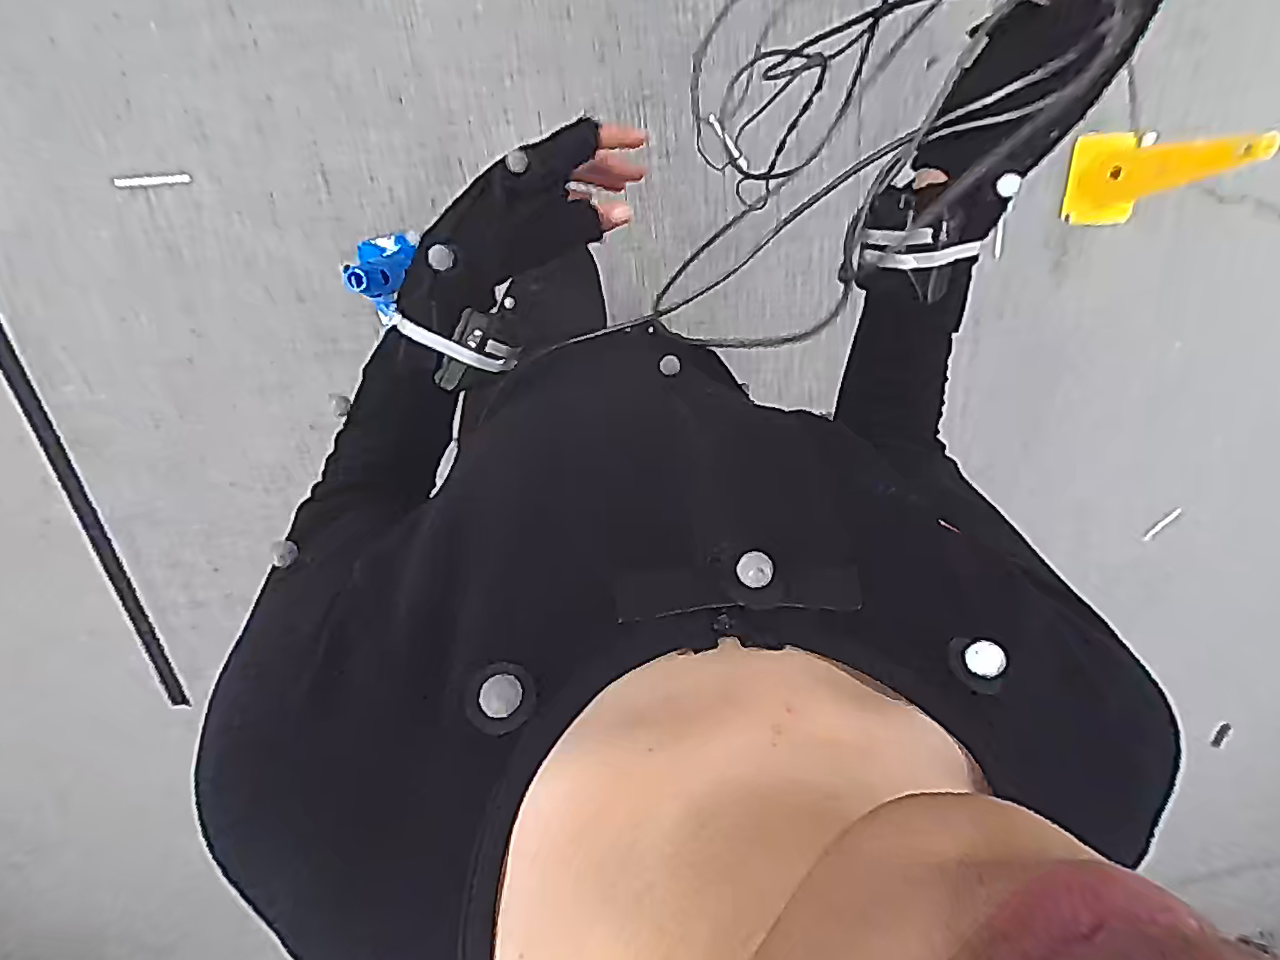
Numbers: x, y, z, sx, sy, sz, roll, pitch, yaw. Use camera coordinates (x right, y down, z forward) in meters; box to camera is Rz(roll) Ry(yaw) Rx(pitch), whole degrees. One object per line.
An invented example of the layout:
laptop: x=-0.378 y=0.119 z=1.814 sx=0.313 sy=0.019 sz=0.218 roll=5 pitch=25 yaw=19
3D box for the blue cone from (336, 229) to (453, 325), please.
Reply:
blue cone: x=-0.530 y=-0.417 z=1.113 sx=0.193 sy=0.380 sz=0.192 roll=-12 pitch=110 yaw=-2
